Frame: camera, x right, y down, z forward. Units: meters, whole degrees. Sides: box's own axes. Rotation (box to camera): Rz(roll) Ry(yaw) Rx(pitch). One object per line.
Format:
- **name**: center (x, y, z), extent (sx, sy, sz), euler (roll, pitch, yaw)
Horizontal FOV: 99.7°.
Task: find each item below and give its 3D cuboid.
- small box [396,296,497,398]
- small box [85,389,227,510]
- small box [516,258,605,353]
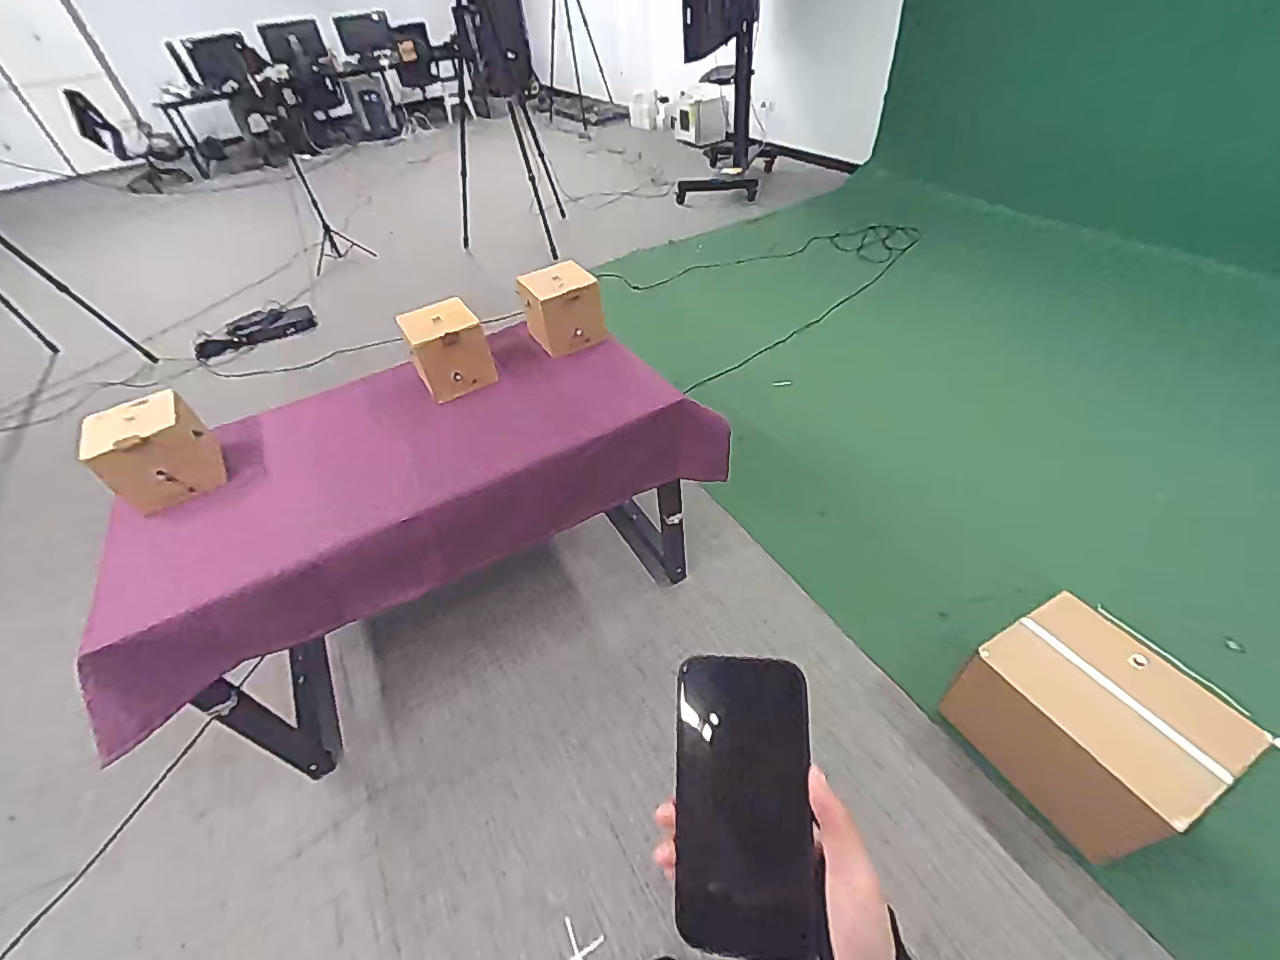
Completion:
- **small box**: center (-0.484, -0.334, 1.363), extent (0.168, 0.176, 0.179), euler (-28, 49, -19)
- **small box**: center (-1.028, -0.059, 1.161), extent (0.168, 0.176, 0.179), euler (-29, 50, -21)
- **small box**: center (-0.211, -0.469, 1.455), extent (0.168, 0.176, 0.179), euler (-26, 48, -16)
